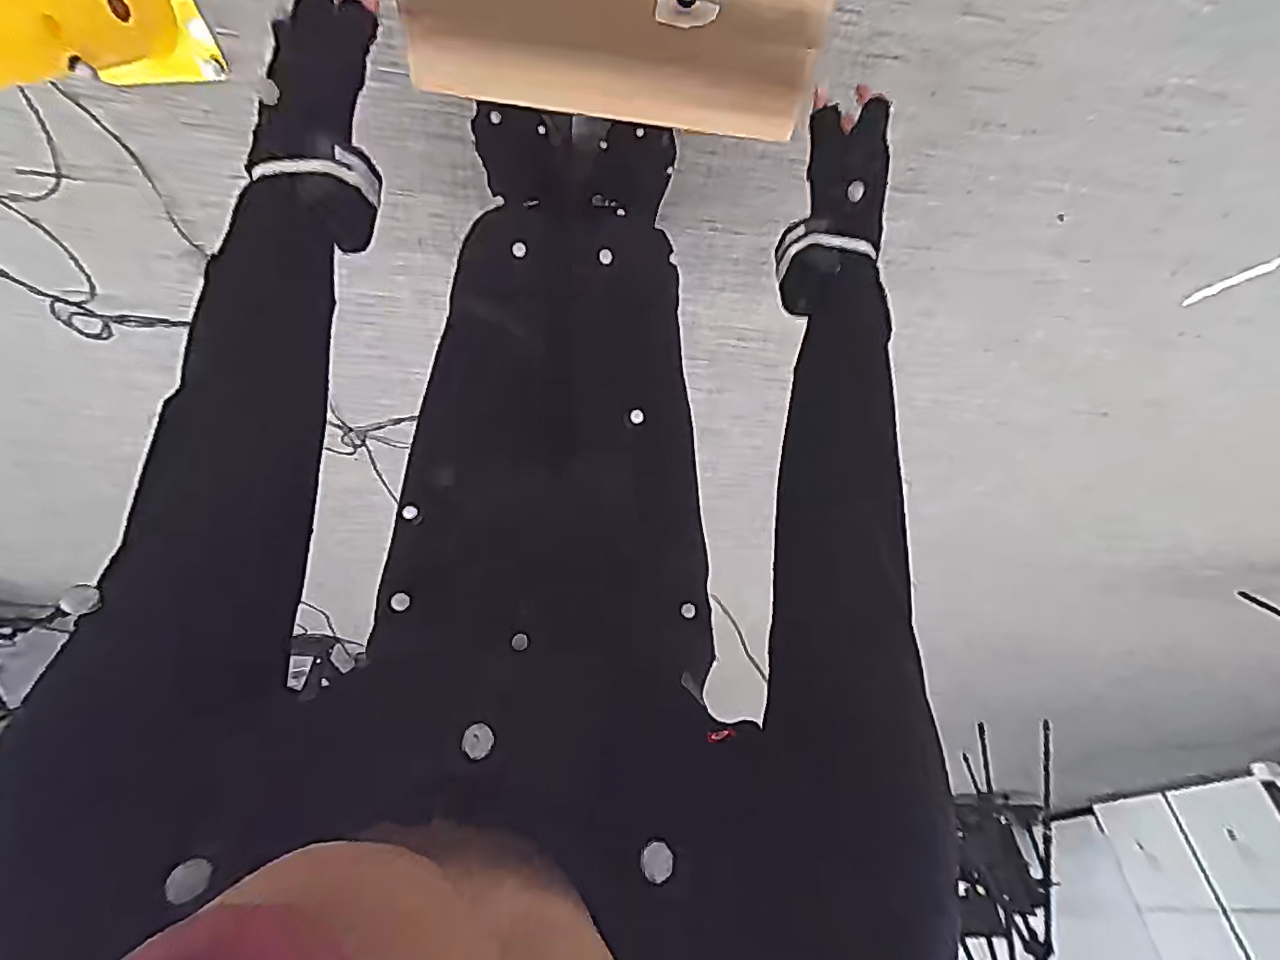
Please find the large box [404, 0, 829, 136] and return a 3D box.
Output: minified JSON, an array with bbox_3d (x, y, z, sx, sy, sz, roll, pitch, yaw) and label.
[{"bbox_3d":[-0.018,-0.599,0.555,0.408,0.320,0.320,4,141,-6],"label":"large box"}]
